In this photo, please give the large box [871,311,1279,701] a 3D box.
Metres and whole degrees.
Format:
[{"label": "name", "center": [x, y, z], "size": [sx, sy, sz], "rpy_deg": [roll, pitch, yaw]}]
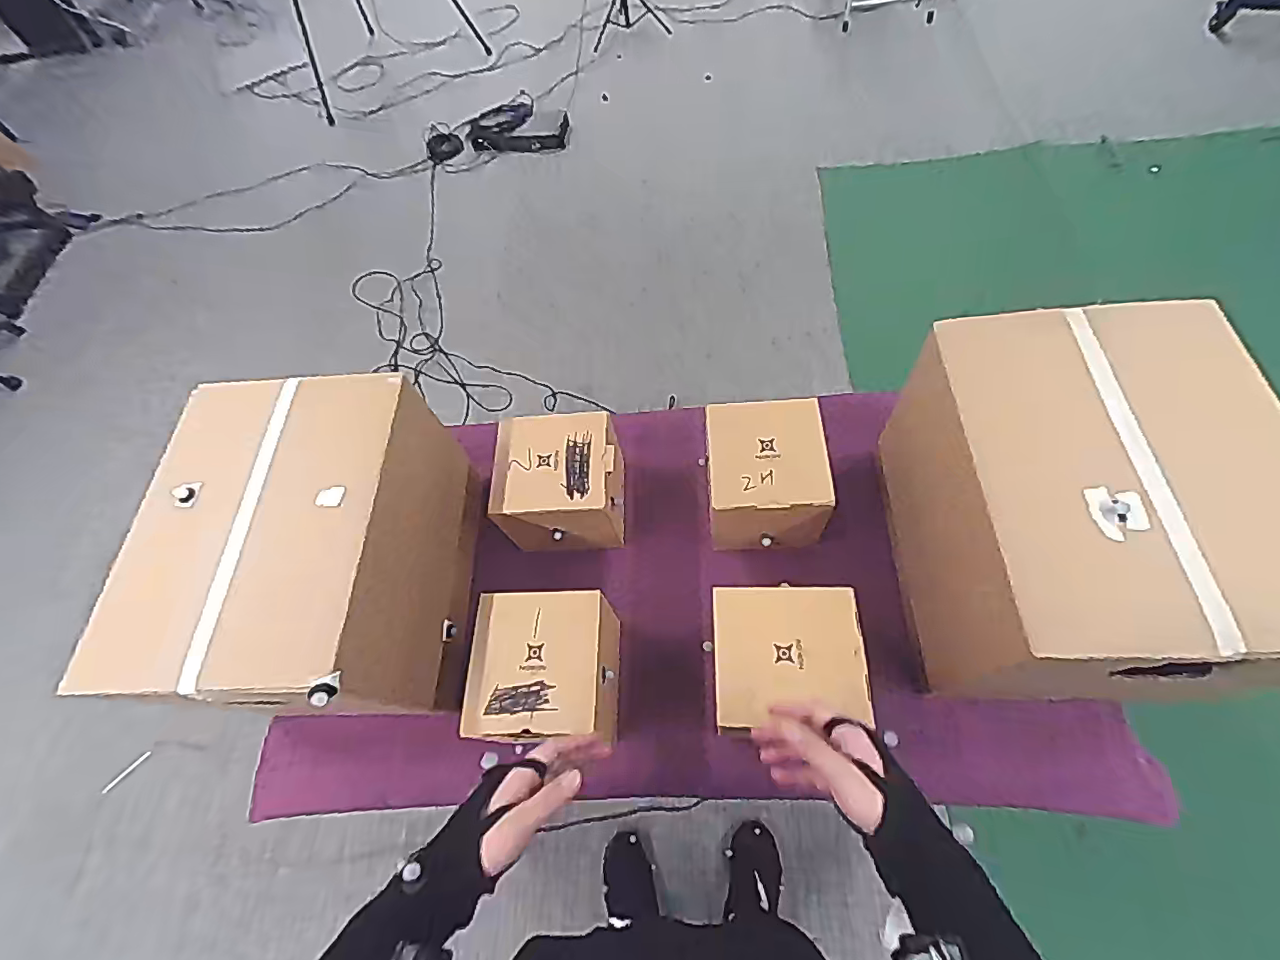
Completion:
[{"label": "large box", "center": [0.523, 0.051, 0.688], "size": [0.320, 0.320, 0.408], "rpy_deg": [-3, 63, 8]}]
